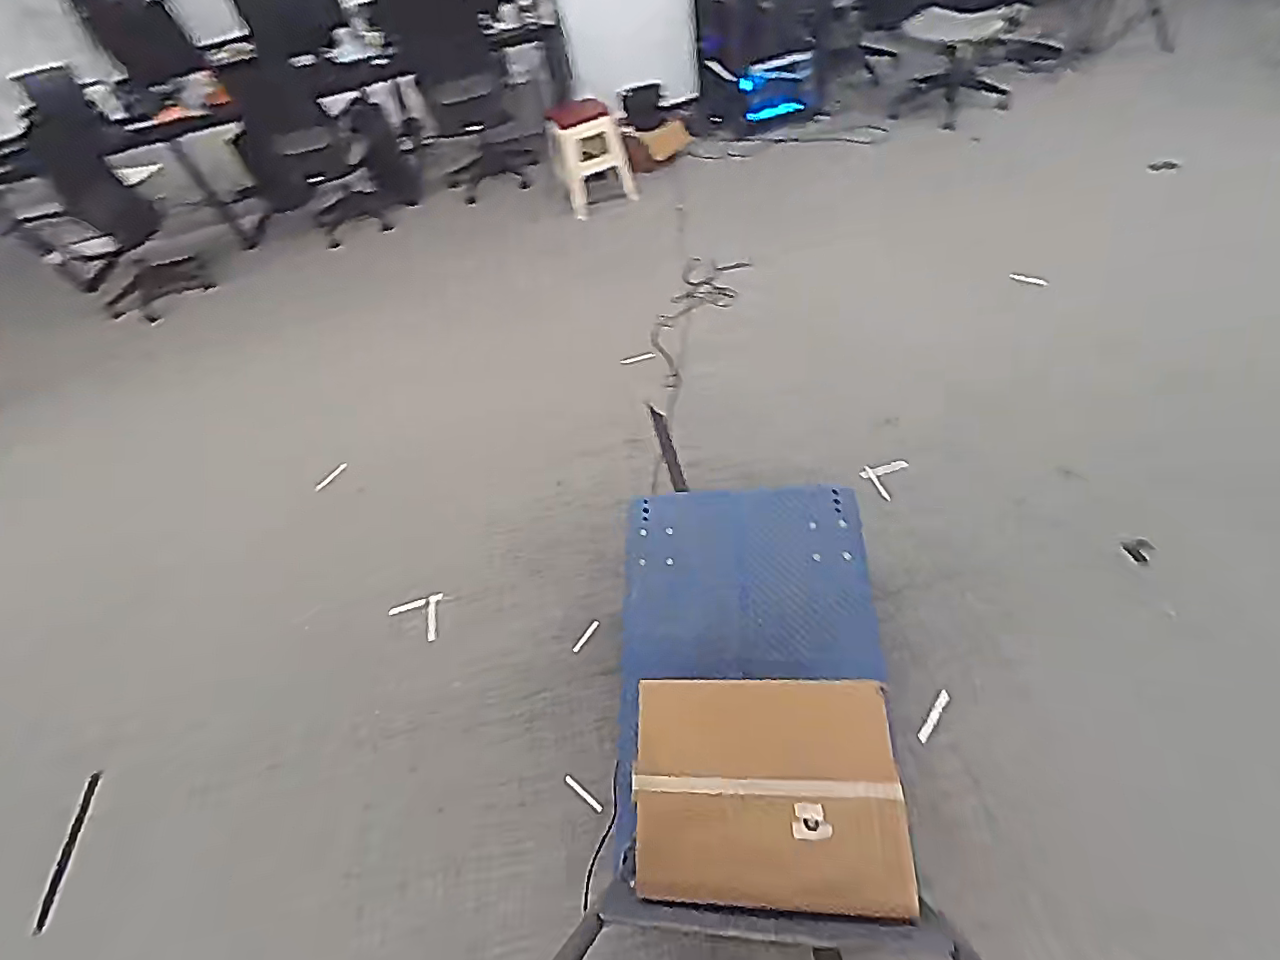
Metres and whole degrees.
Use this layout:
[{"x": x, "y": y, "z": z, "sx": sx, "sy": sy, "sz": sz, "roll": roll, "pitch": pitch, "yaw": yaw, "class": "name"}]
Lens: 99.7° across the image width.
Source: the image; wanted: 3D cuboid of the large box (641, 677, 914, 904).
[{"x": 0.220, "y": 0.548, "z": 0.996, "sx": 0.408, "sy": 0.320, "sz": 0.320, "roll": -4, "pitch": 64, "yaw": 9, "class": "large box"}]
